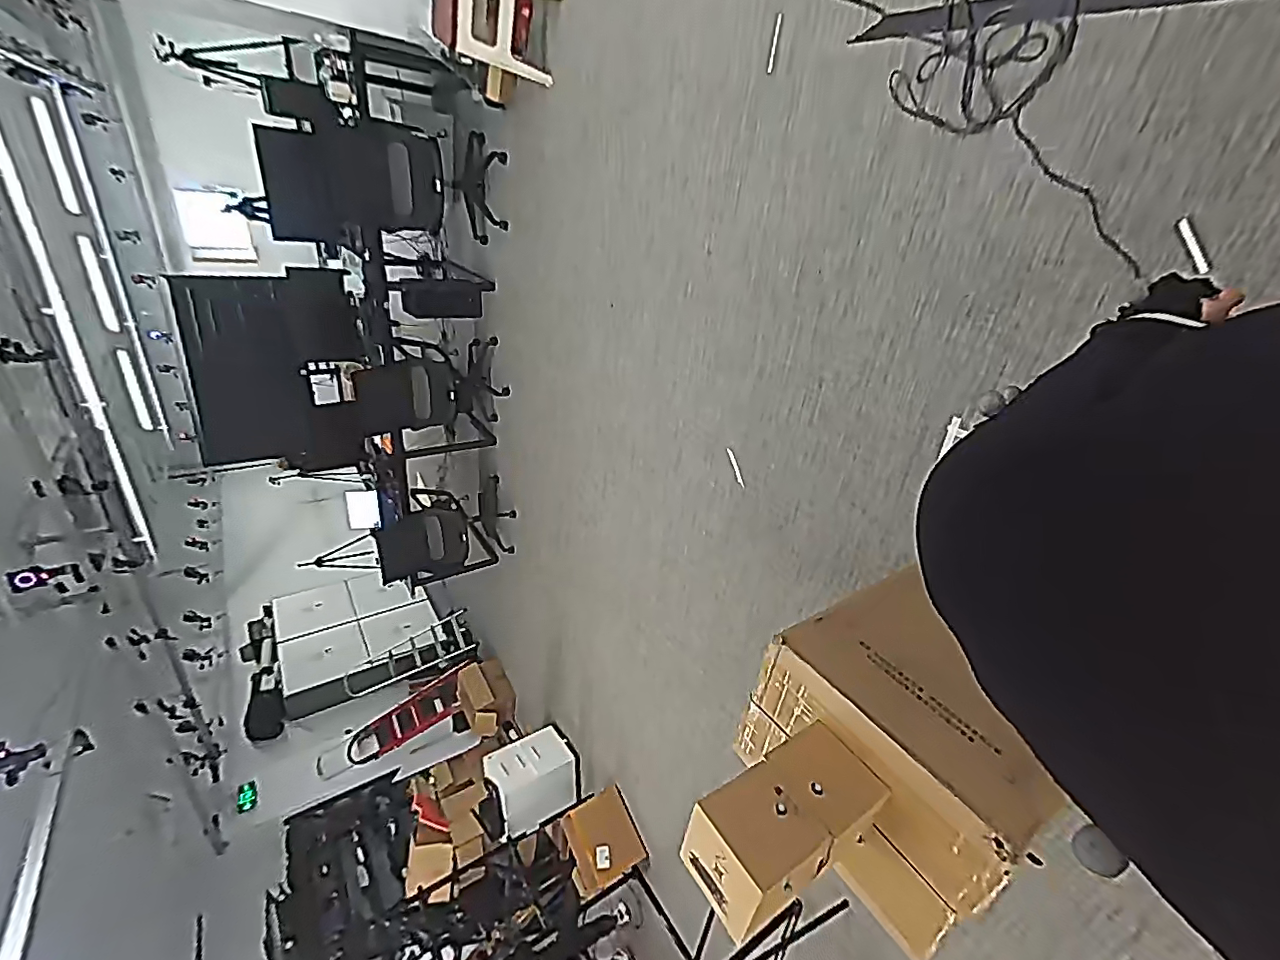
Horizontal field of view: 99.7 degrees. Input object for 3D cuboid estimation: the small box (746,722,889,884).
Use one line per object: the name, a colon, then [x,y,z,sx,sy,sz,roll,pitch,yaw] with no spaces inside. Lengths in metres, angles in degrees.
small box: [0.338,0.608,1.037,0.179,0.176,0.168,41,132,44]
